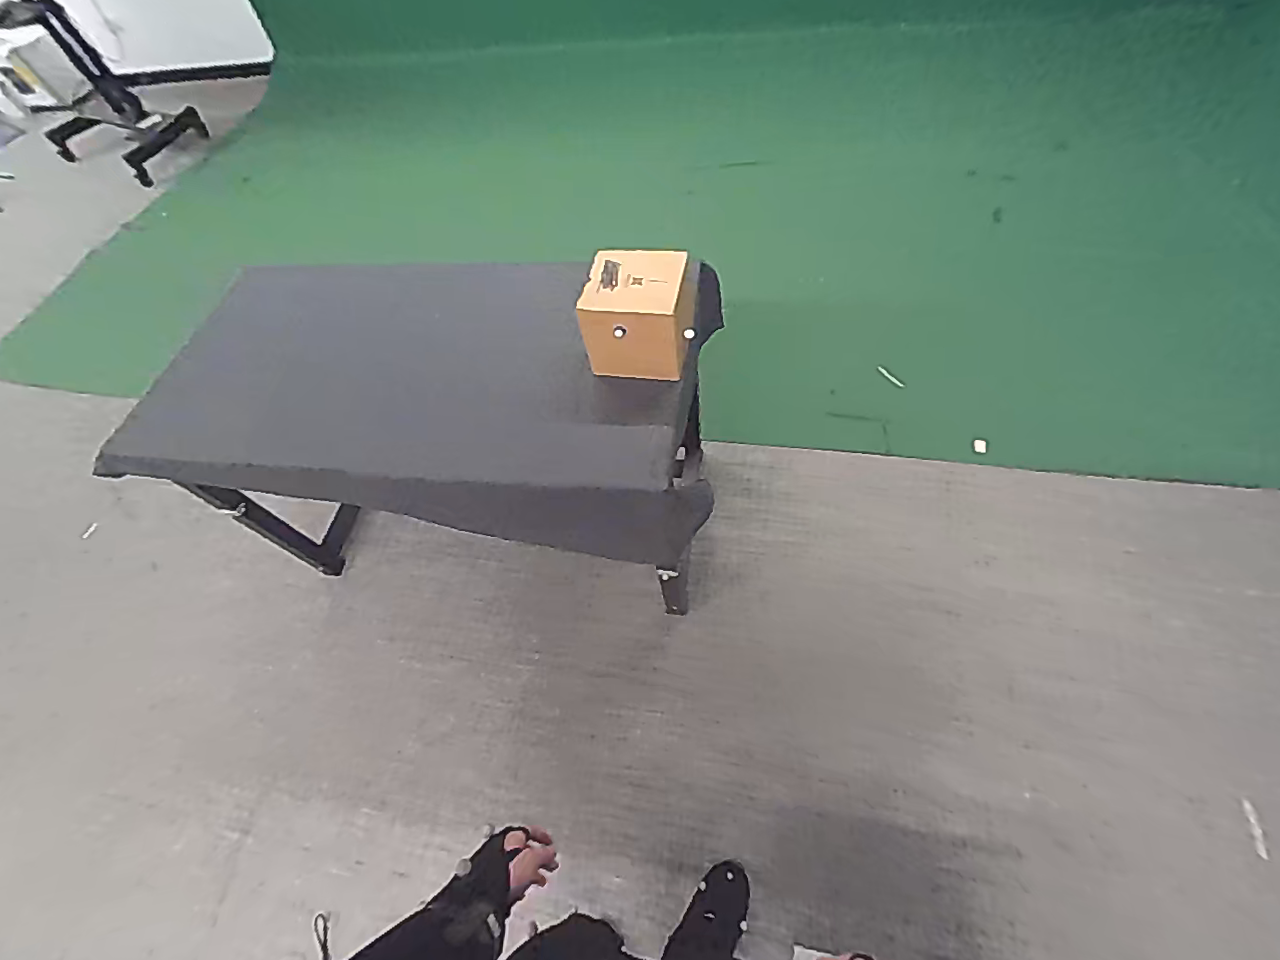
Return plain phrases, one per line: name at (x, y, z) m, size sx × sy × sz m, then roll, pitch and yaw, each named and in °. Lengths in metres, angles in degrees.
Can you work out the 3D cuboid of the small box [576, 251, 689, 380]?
small box at (-0.005, -0.308, 1.025) m, size 0.179 × 0.176 × 0.168 m, roll 8°, pitch 59°, yaw 10°
